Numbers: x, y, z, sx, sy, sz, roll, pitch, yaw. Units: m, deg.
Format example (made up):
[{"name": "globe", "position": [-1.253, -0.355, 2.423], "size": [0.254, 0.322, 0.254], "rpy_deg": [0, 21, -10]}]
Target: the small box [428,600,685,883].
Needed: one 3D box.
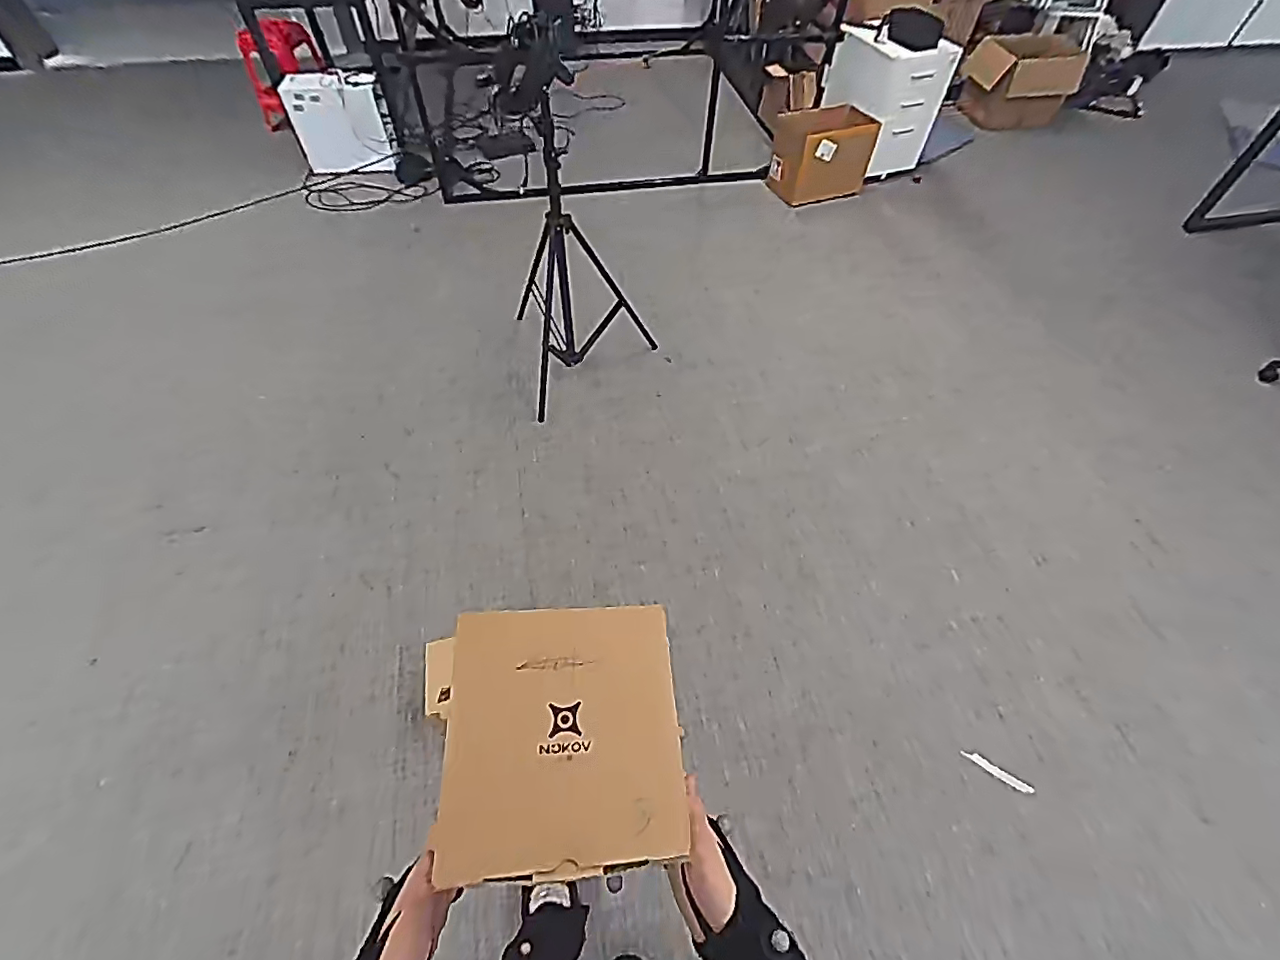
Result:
[{"name": "small box", "position": [-0.068, 0.217, 0.453], "size": [0.168, 0.176, 0.179], "rpy_deg": [0, 55, -10]}]

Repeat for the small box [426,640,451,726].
[{"name": "small box", "position": [-0.424, 0.505, 1.348], "size": [0.168, 0.176, 0.179], "rpy_deg": [-10, 55, -9]}]
